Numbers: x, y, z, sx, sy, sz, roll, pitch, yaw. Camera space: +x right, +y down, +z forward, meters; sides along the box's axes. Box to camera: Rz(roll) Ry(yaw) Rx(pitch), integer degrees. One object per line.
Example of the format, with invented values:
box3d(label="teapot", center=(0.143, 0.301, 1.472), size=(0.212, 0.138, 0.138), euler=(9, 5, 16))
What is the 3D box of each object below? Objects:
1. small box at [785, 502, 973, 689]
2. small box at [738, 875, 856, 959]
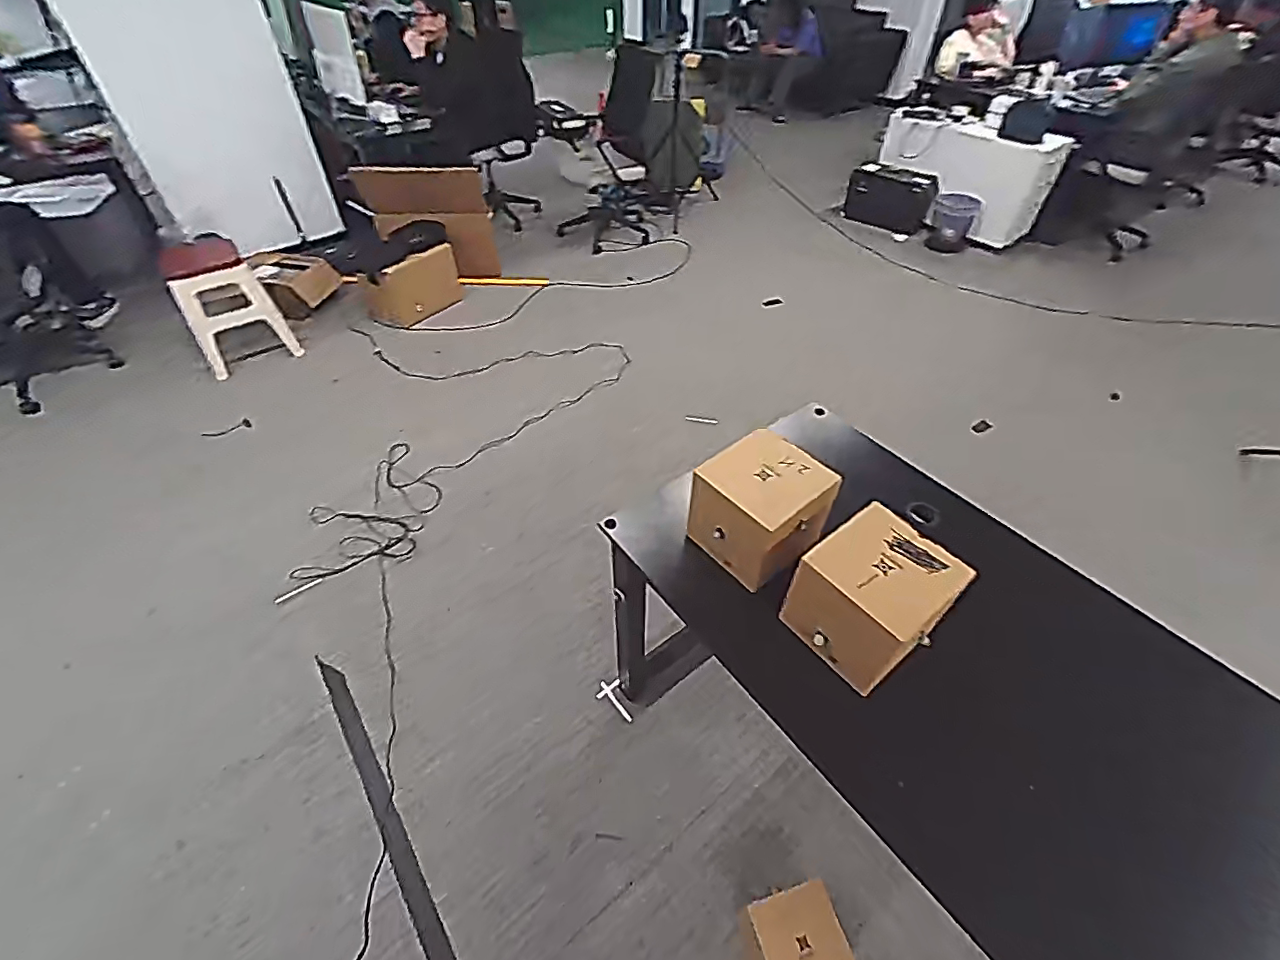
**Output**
box3d(label="small box", center=(0.341, 0.171, 0.805), size=(0.179, 0.176, 0.168), euler=(-30, 53, -25))
box3d(label="small box", center=(0.312, 0.934, 1.085), size=(0.168, 0.176, 0.179), euler=(-12, 47, -12))
